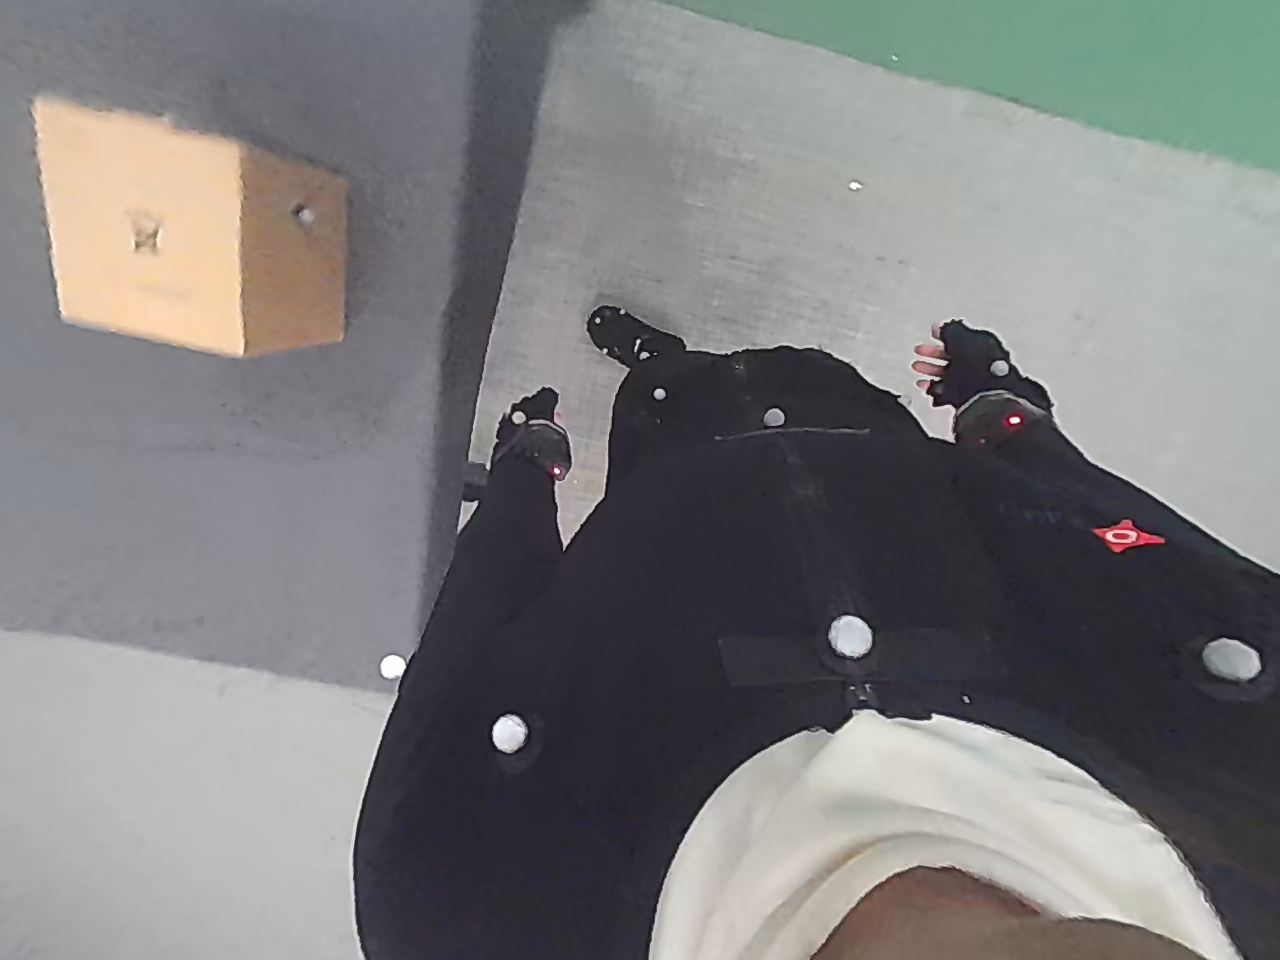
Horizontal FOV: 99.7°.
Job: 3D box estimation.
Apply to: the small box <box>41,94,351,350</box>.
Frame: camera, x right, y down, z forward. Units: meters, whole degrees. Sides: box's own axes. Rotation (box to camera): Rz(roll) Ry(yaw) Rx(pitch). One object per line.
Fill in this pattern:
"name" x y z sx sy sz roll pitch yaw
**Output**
"small box" -0.413 -0.242 0.540 0.168 0.176 0.179 12 111 -2
